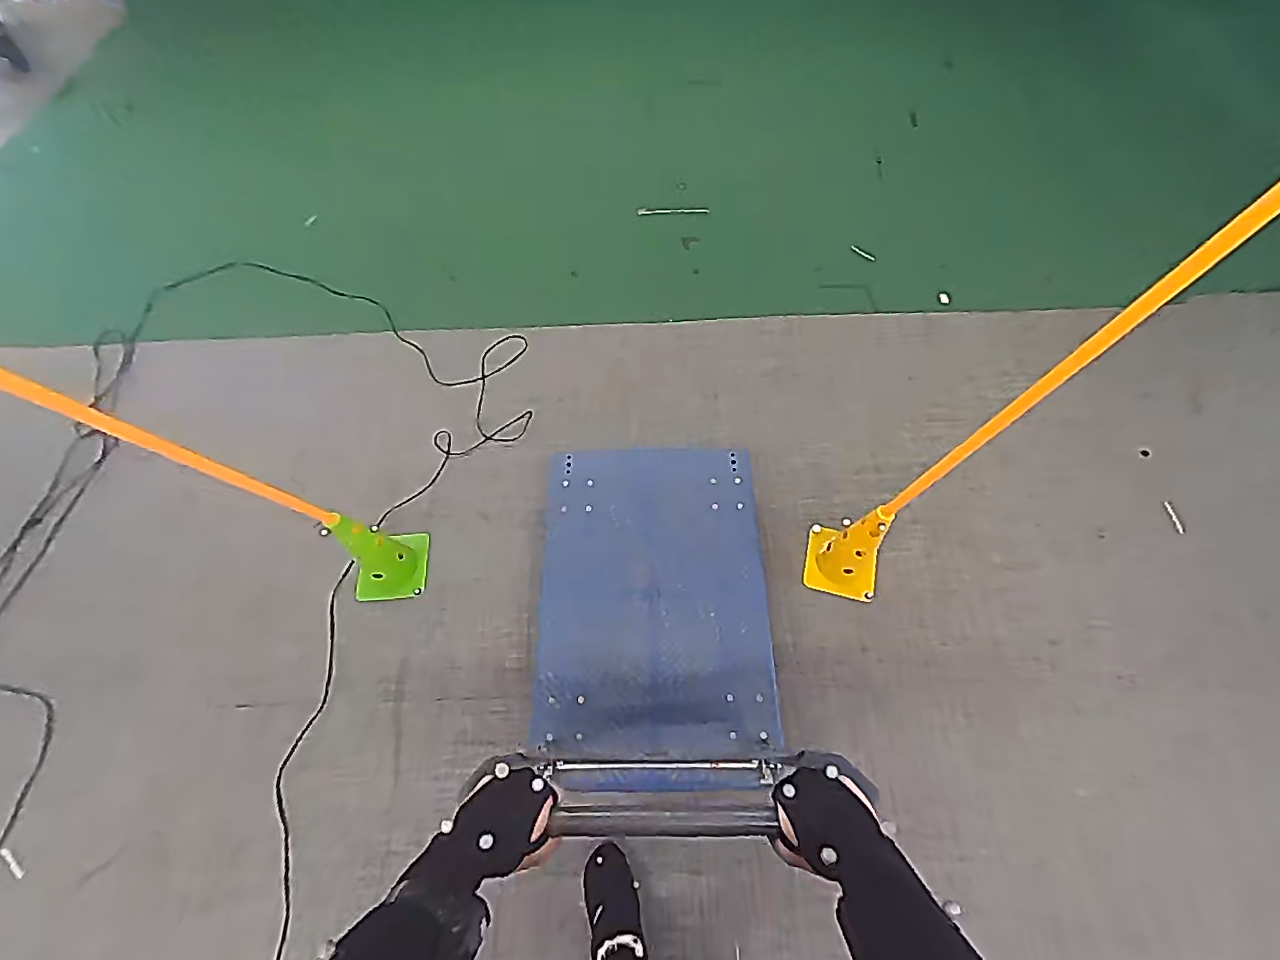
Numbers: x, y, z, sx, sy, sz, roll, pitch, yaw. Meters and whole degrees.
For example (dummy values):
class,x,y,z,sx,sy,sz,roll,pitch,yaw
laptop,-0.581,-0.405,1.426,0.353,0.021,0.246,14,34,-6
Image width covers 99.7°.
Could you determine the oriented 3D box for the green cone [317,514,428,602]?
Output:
class,x,y,z,sx,sy,sz,roll,pitch,yaw
green cone,-0.749,0.180,1.468,0.202,0.368,0.200,-6,61,0
